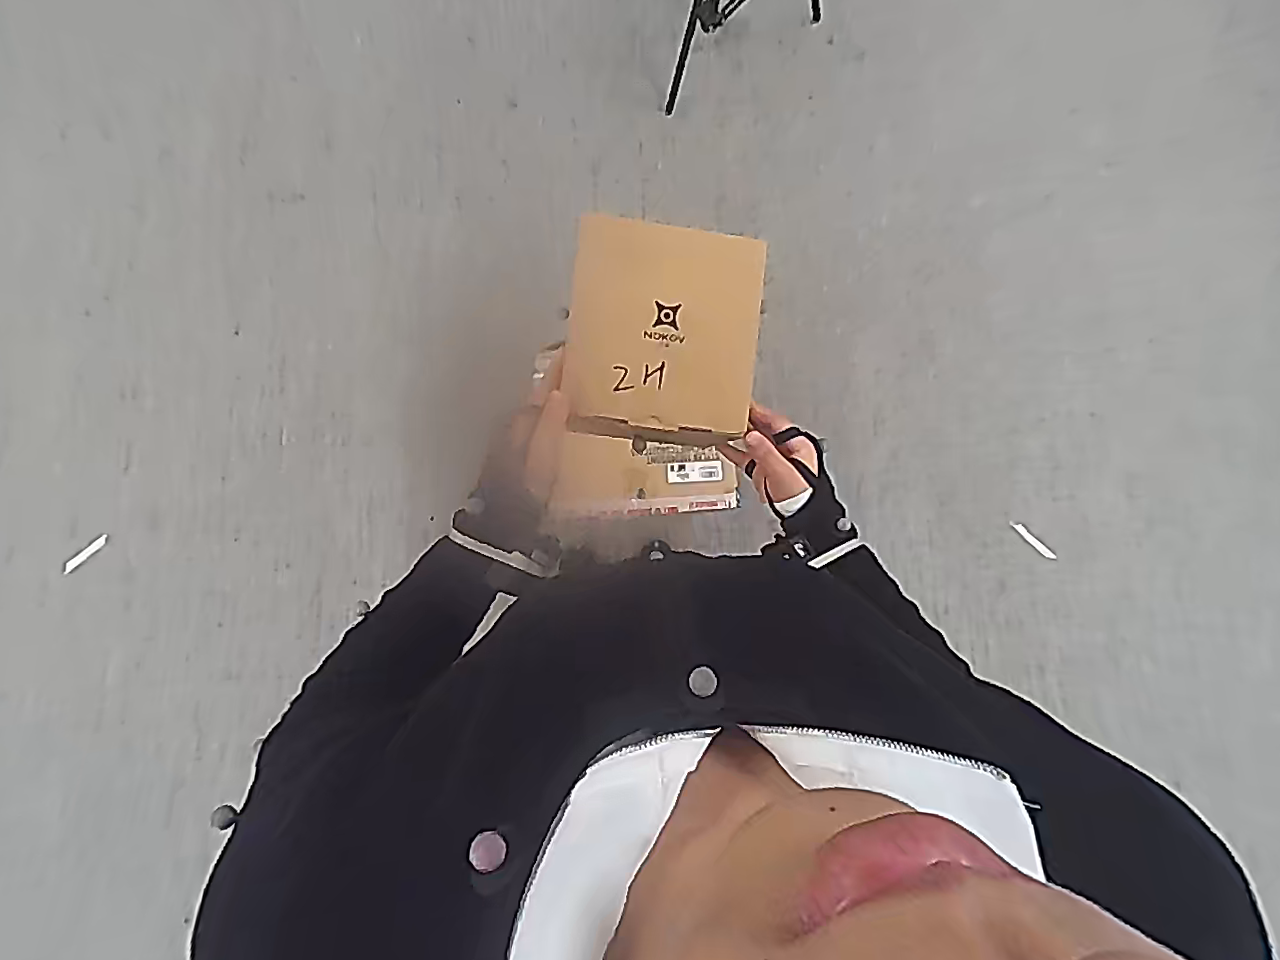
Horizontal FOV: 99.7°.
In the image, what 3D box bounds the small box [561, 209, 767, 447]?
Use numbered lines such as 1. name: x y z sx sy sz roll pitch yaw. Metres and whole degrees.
1. small box: 0.015 -0.134 0.543 0.168 0.176 0.179 6 88 -5
